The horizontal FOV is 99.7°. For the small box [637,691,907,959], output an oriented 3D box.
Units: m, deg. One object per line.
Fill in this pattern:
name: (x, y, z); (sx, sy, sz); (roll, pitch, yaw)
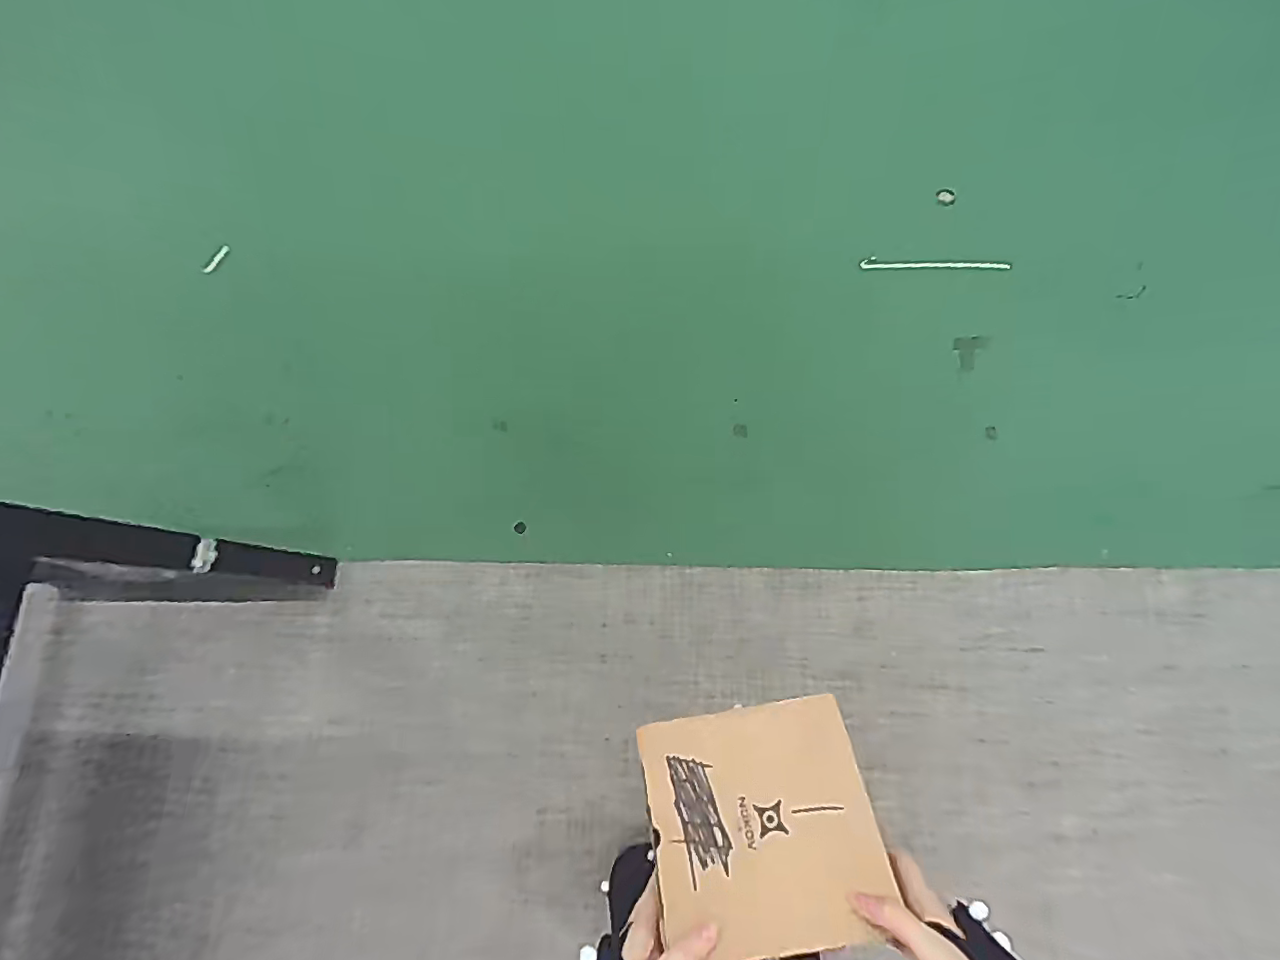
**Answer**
small box: (0.103, 0.306, 0.487); (0.179, 0.176, 0.168); (-11, 56, 2)
